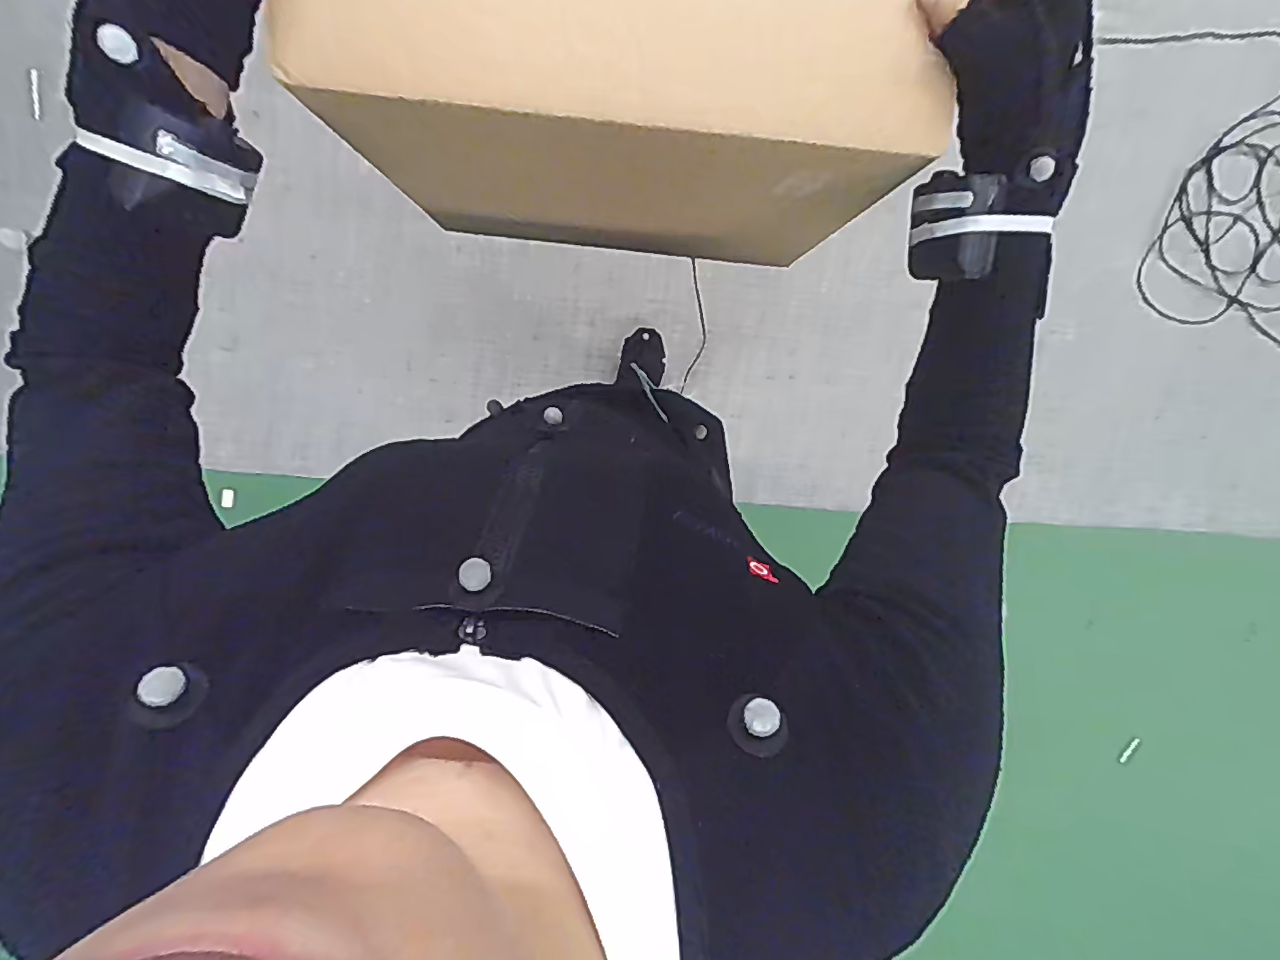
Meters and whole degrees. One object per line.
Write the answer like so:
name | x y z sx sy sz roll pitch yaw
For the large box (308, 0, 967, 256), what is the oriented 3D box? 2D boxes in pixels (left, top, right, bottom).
large box | 0.001 -0.401 0.458 0.408 0.320 0.320 4 100 -4
